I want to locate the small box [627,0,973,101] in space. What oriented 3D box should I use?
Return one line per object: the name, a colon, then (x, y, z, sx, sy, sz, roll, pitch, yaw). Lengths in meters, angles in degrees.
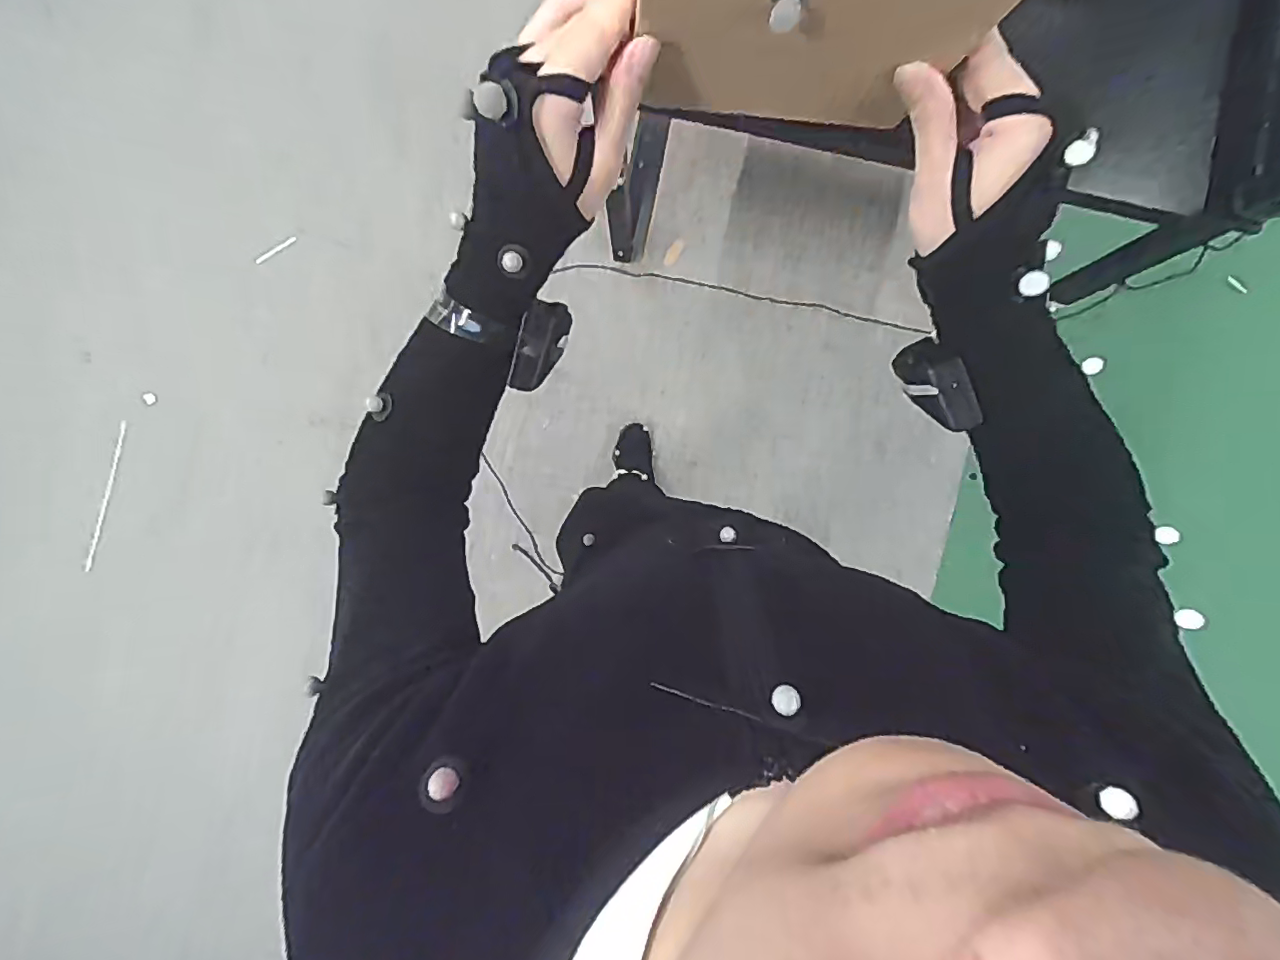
small box: (0.085, -0.309, 0.248, 0.179, 0.176, 0.168, 4, 97, -2)
